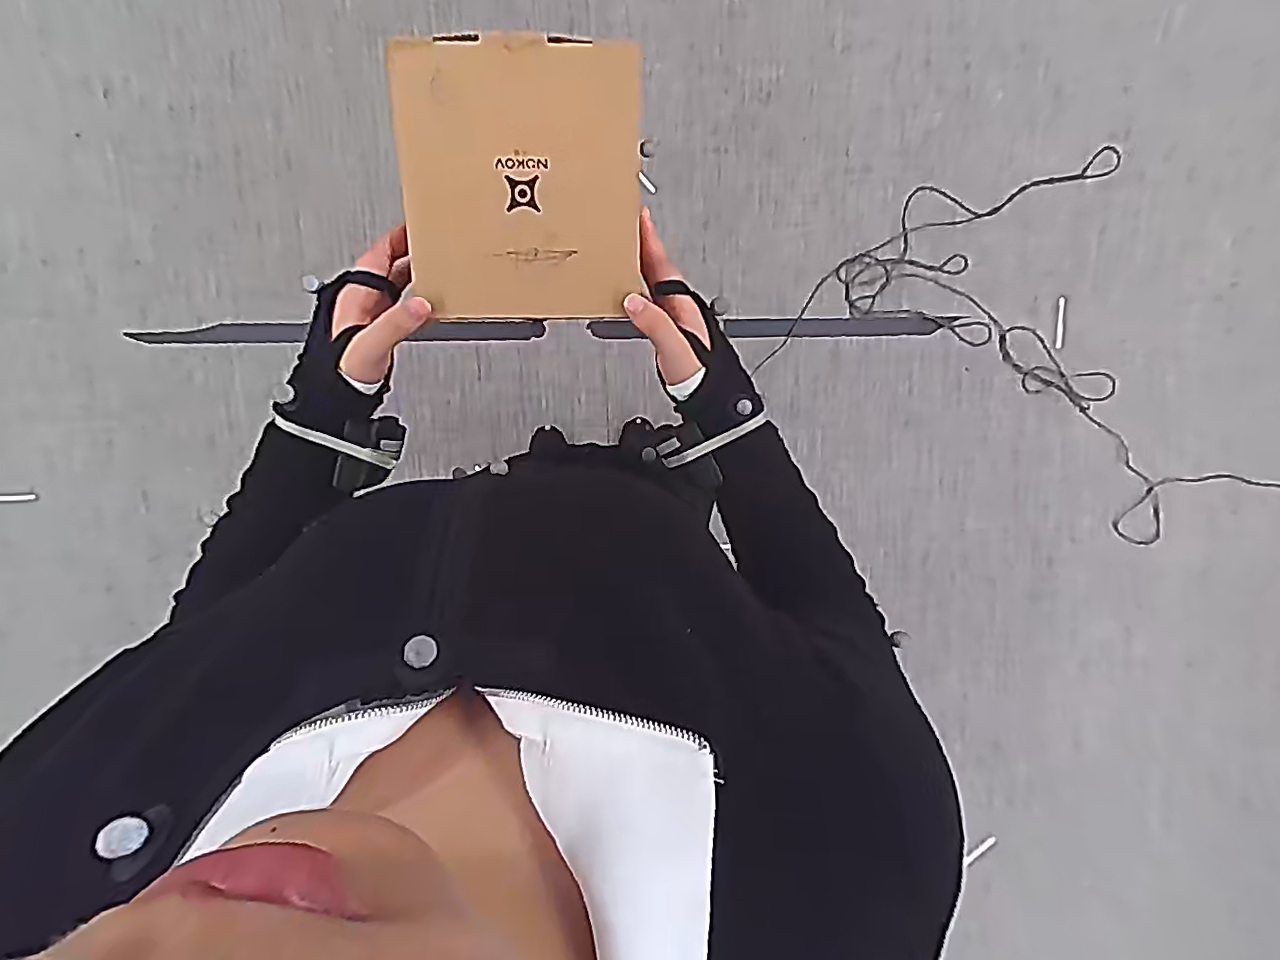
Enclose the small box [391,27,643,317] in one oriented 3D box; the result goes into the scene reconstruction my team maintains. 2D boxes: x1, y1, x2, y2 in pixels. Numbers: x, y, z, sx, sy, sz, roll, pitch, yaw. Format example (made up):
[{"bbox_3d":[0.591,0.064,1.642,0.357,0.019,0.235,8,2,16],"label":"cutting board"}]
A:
[{"bbox_3d":[-0.085,-0.230,0.451,0.168,0.176,0.179,-1,107,-2],"label":"small box"}]
